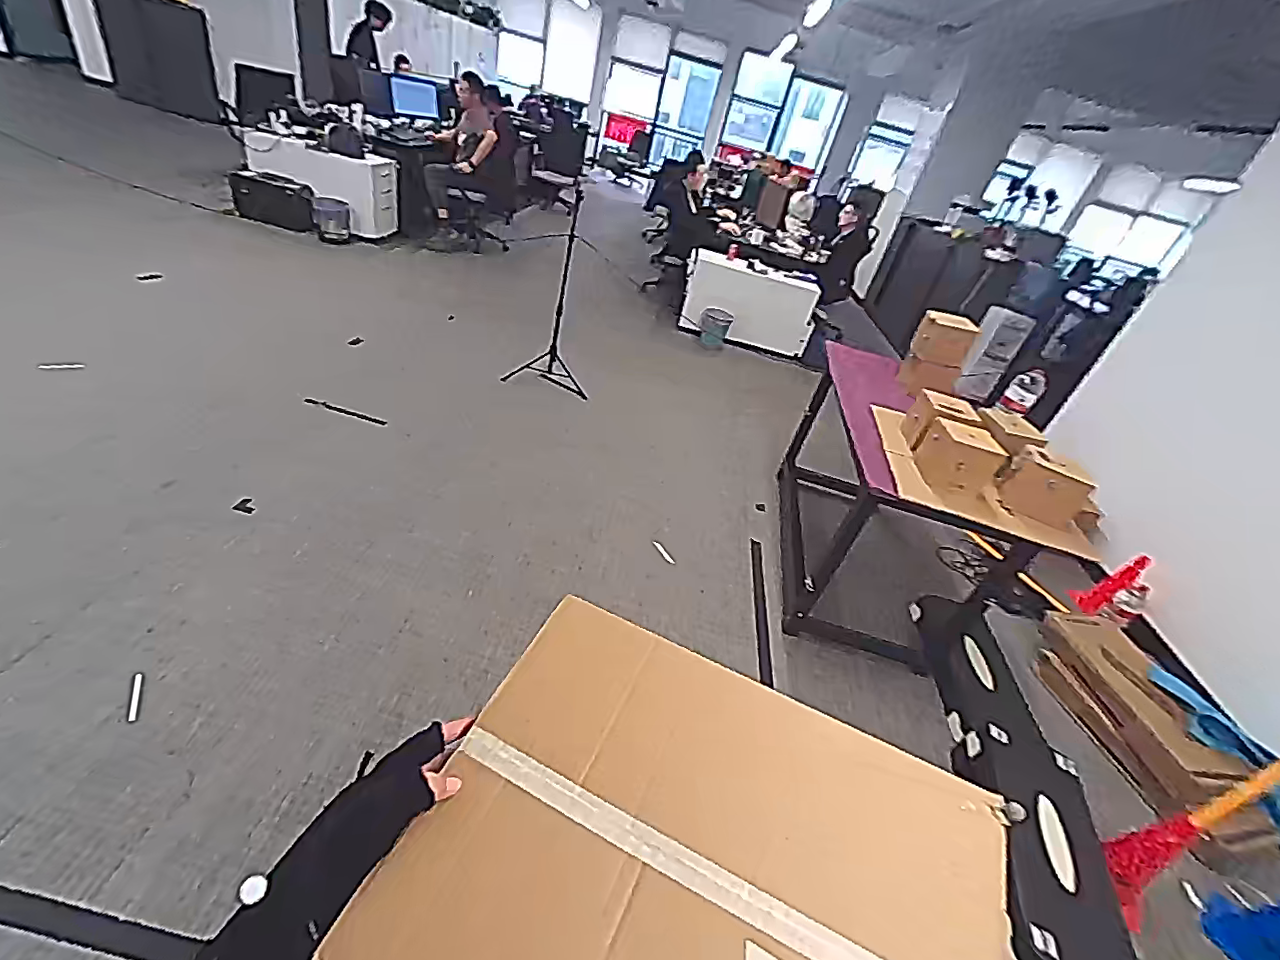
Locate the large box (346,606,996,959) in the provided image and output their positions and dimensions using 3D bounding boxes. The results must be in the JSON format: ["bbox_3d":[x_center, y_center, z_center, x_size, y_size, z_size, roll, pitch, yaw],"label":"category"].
[{"bbox_3d":[0.036,0.391,0.503,0.408,0.320,0.320,22,48,16],"label":"large box"}]
